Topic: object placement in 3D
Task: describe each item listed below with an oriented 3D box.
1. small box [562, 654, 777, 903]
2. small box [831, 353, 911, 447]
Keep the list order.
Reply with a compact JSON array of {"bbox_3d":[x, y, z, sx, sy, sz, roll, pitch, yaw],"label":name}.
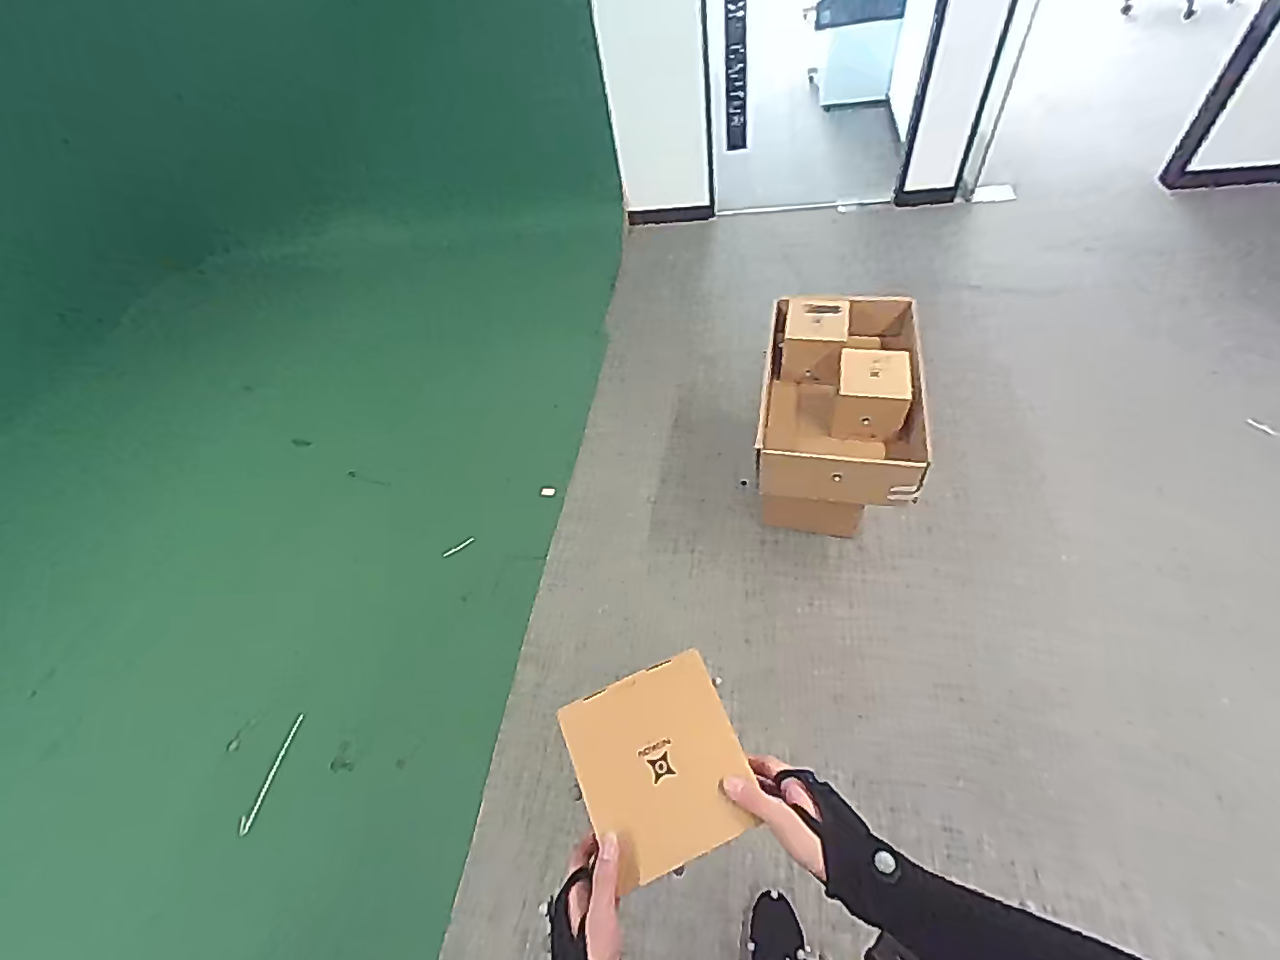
[{"bbox_3d":[0.029,0.321,0.603,0.168,0.176,0.179,-21,62,-8],"label":"small box"},{"bbox_3d":[0.604,-0.207,1.422,0.168,0.176,0.179,8,56,14],"label":"small box"}]
